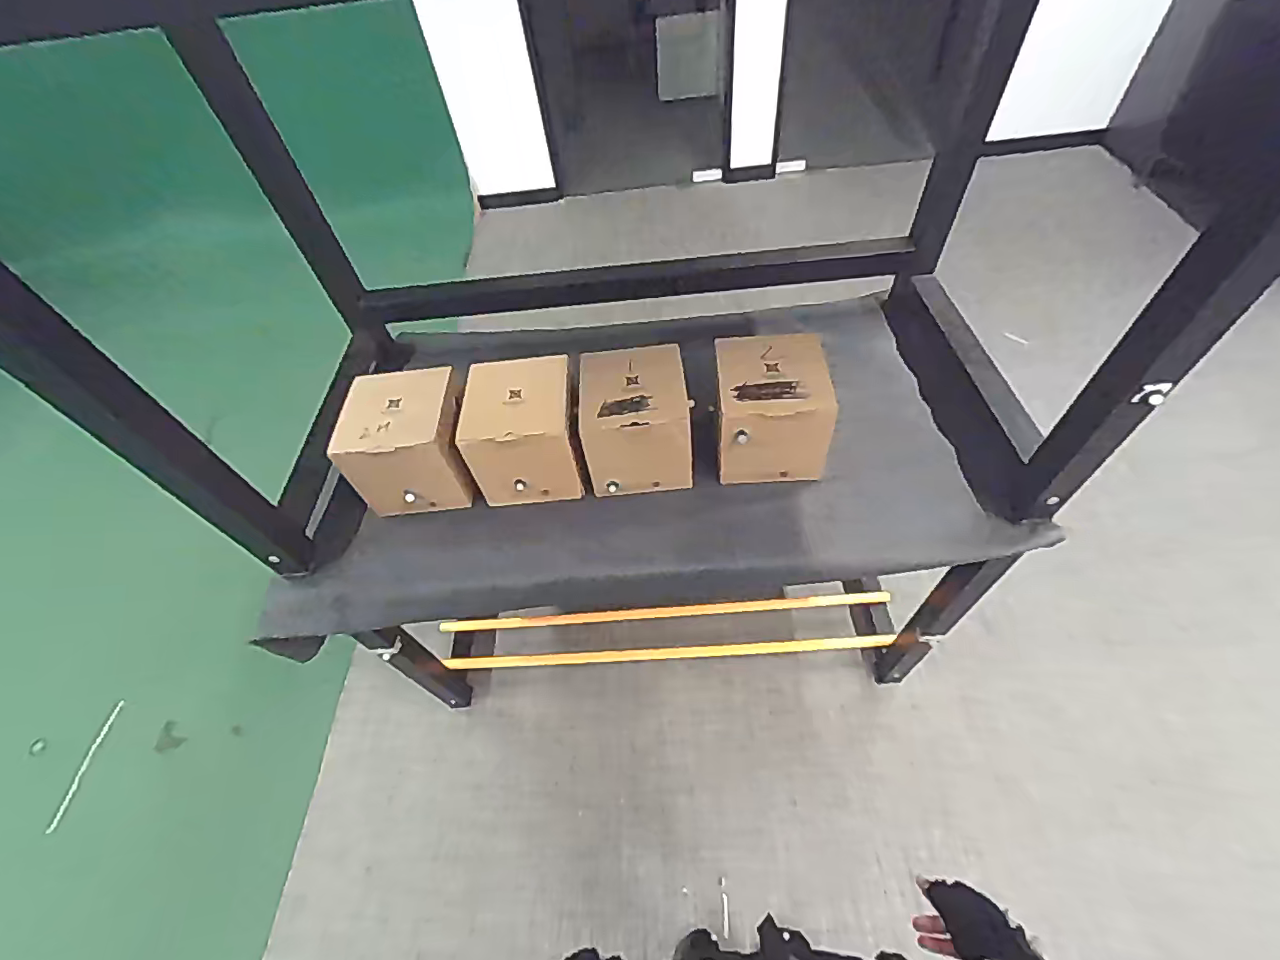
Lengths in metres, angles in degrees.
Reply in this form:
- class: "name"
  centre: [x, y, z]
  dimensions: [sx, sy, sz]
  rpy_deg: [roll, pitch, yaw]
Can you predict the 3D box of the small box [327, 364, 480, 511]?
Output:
- class: "small box"
  centre: [-0.381, -0.069, 0.911]
  dimensions: [0.168, 0.176, 0.179]
  rpy_deg: [-6, 52, 2]
